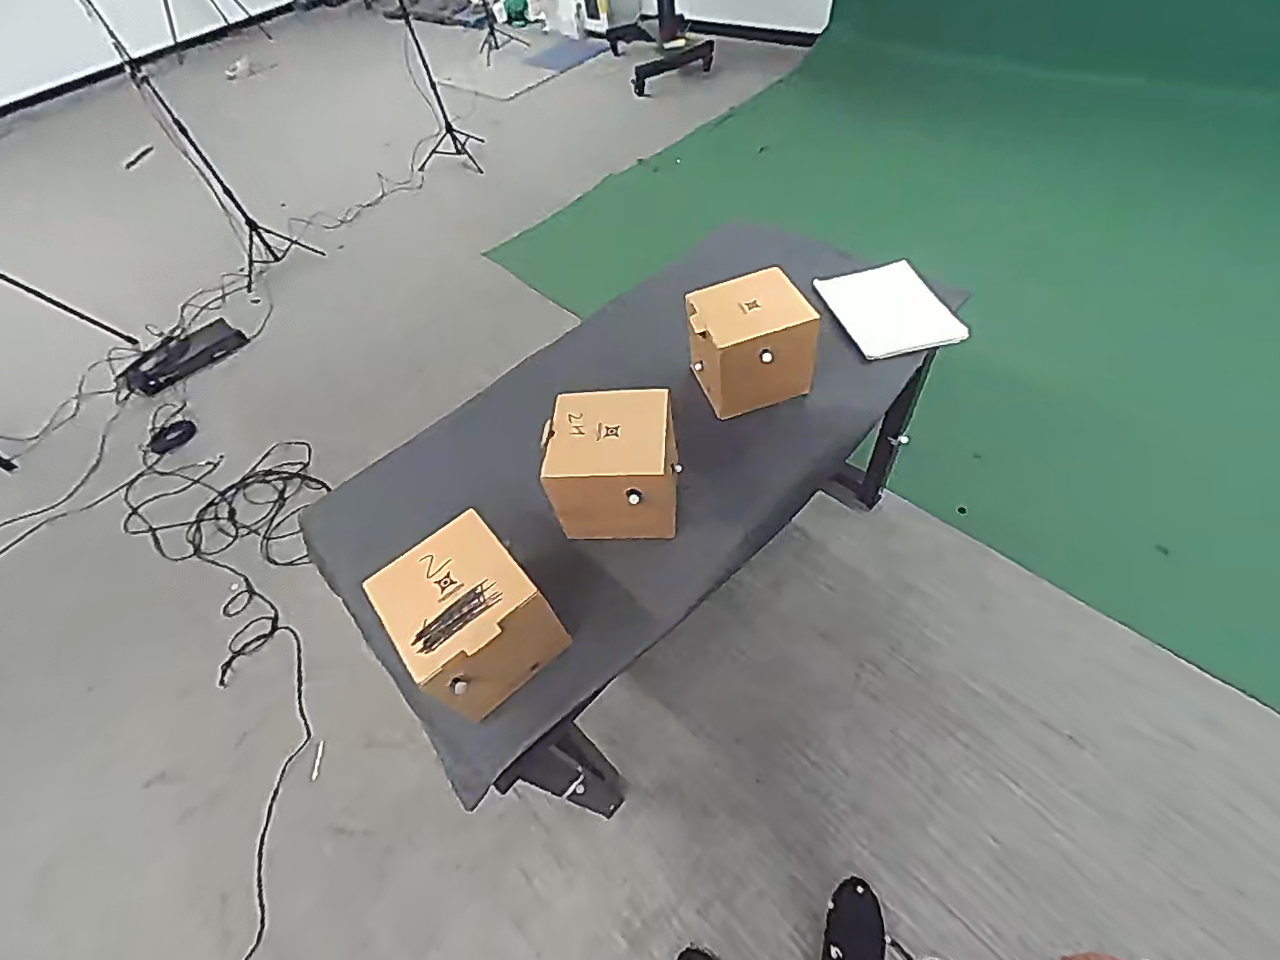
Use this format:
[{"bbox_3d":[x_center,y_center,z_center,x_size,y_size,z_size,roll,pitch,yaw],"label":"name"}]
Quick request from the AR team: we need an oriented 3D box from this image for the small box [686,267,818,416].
[{"bbox_3d":[0.193,-0.243,0.967,0.179,0.176,0.168,-18,53,-3],"label":"small box"}]

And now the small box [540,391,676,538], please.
[{"bbox_3d":[-0.037,-0.020,0.842,0.179,0.176,0.168,-2,53,9],"label":"small box"}]
